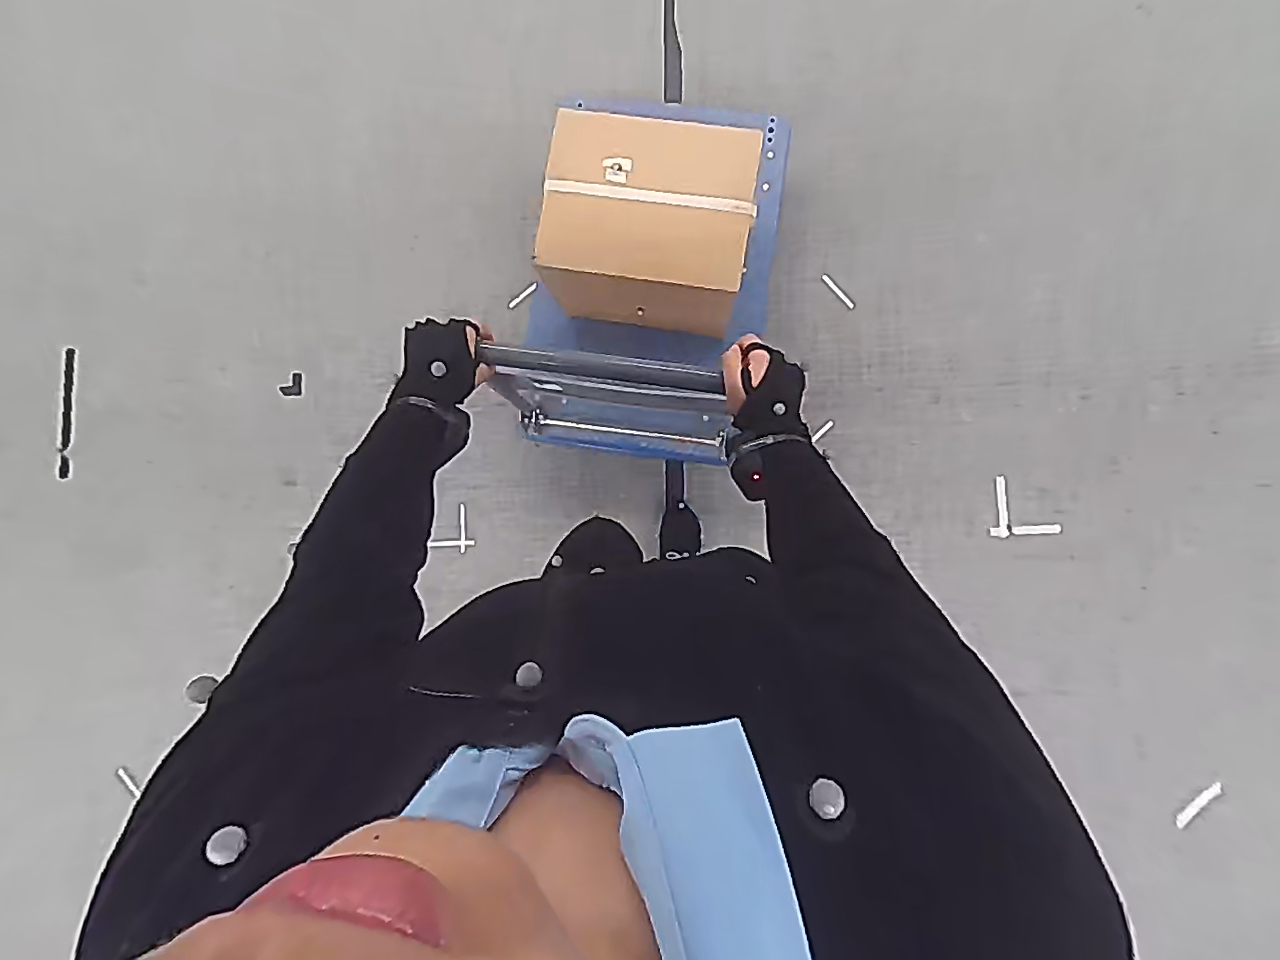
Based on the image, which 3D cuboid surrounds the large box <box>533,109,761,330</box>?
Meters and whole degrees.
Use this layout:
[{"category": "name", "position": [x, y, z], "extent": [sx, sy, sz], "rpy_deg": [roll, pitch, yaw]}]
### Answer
[{"category": "large box", "position": [0.026, -0.536, 1.170], "extent": [0.408, 0.320, 0.320], "rpy_deg": [9, 88, 6]}]
